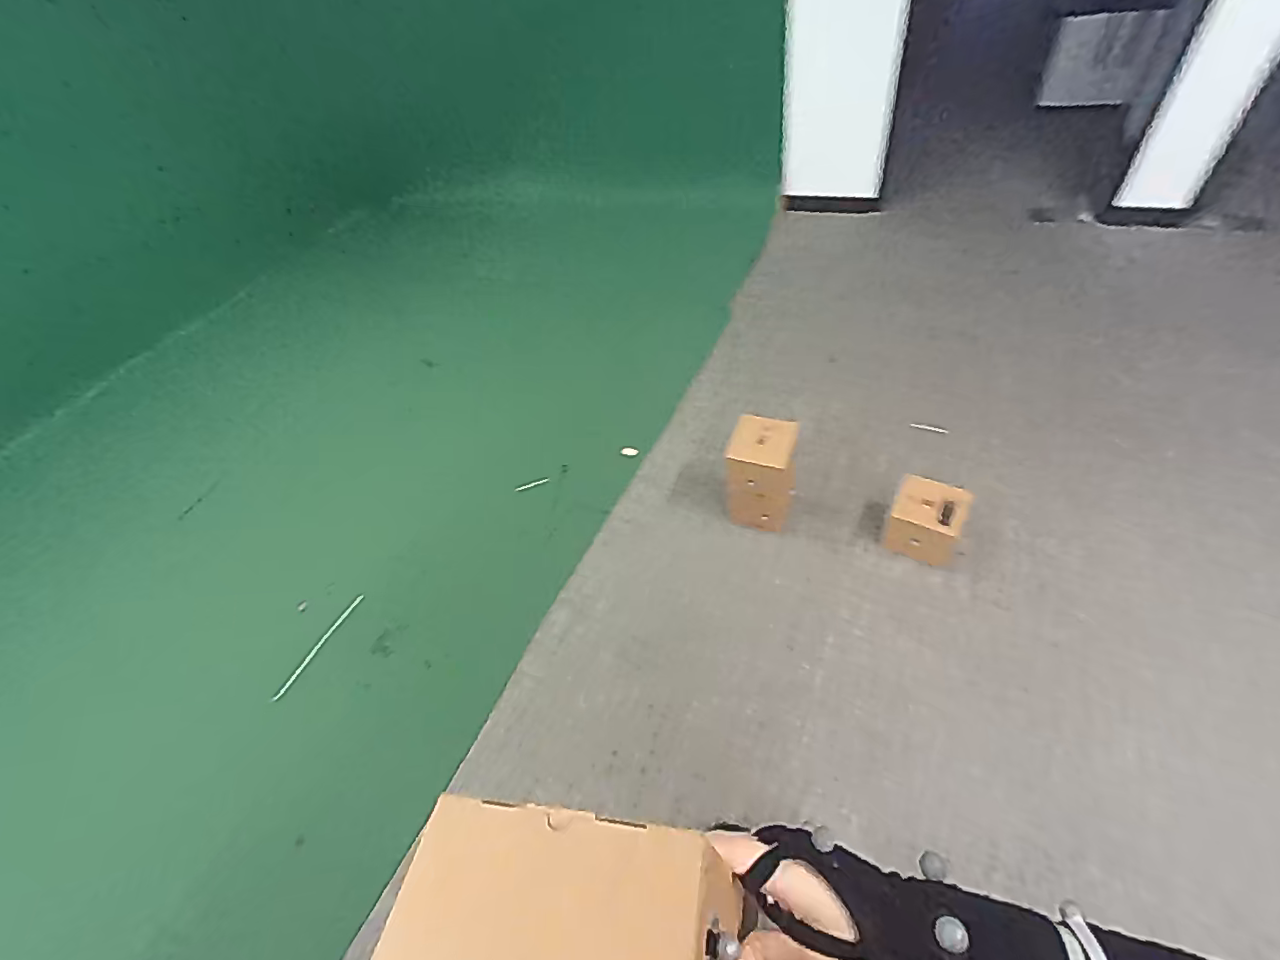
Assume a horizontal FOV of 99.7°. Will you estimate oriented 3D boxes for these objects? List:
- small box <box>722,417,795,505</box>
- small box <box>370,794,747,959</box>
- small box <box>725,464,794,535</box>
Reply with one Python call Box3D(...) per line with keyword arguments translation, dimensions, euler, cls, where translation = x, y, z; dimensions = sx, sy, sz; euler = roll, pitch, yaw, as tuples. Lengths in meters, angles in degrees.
Box3D(translation=(0.347, -0.052, 1.574), dimensions=(0.168, 0.176, 0.179), euler=(14, 56, 21), cls="small box")
Box3D(translation=(-0.041, 0.307, 0.299), dimensions=(0.168, 0.176, 0.179), euler=(-4, 42, 22), cls="small box")
Box3D(translation=(0.379, 0.049, 1.700), dimensions=(0.168, 0.176, 0.179), euler=(15, 56, 23), cls="small box")
